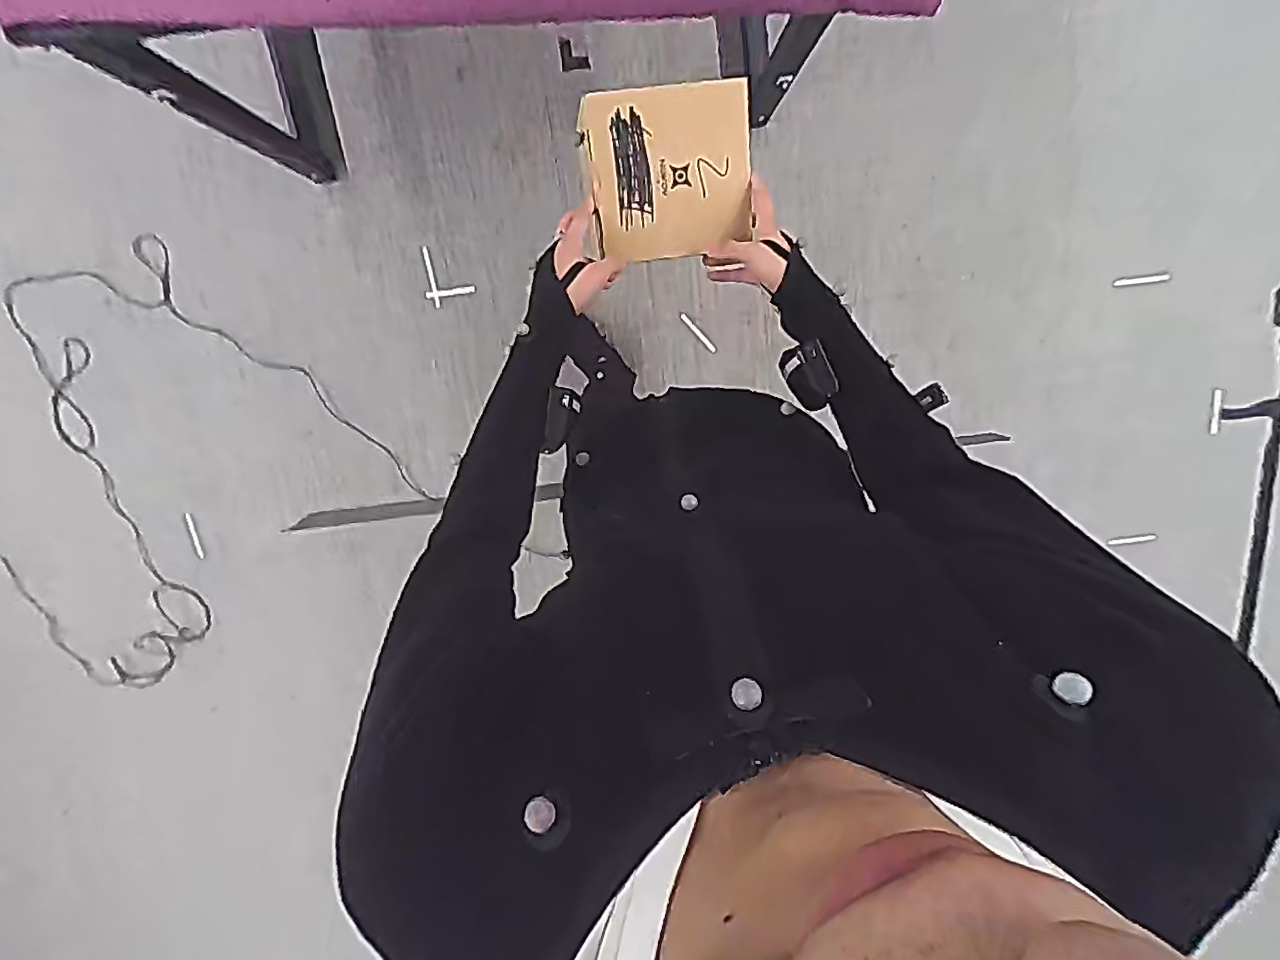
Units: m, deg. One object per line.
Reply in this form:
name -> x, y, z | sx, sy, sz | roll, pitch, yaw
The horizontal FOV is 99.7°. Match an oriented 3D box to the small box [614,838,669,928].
small box -> 0.006, 1.377, 1.853 | 0.168, 0.176, 0.179 | -8, 101, 0
